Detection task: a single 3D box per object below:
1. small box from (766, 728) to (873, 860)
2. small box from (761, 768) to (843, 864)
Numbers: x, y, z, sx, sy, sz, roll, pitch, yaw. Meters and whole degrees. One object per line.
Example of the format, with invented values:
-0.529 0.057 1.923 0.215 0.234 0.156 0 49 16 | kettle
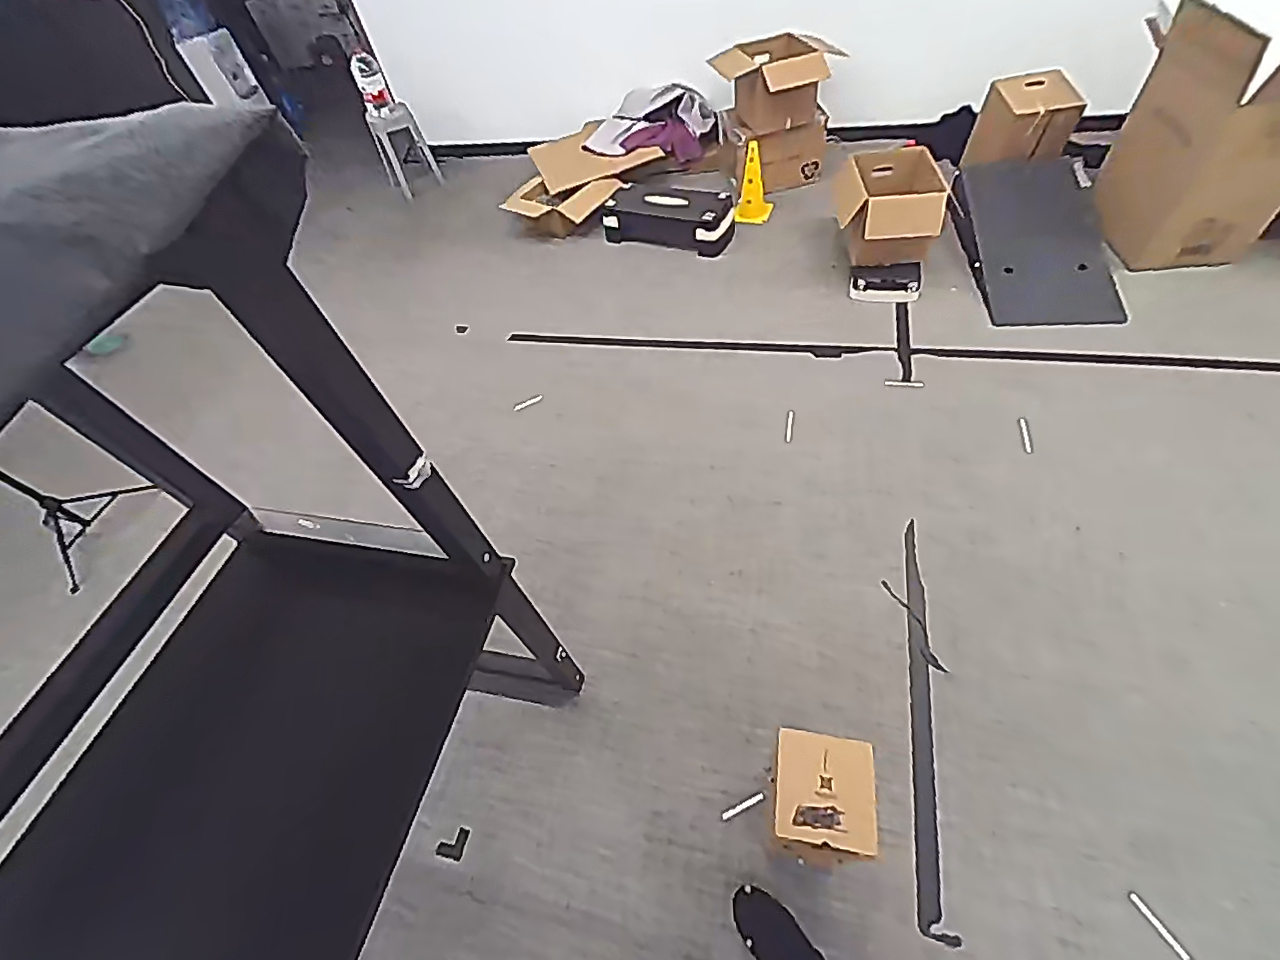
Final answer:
0.325 0.582 0.999 0.168 0.176 0.179 5 54 12 | small box
0.376 0.773 1.262 0.168 0.176 0.179 6 55 13 | small box
